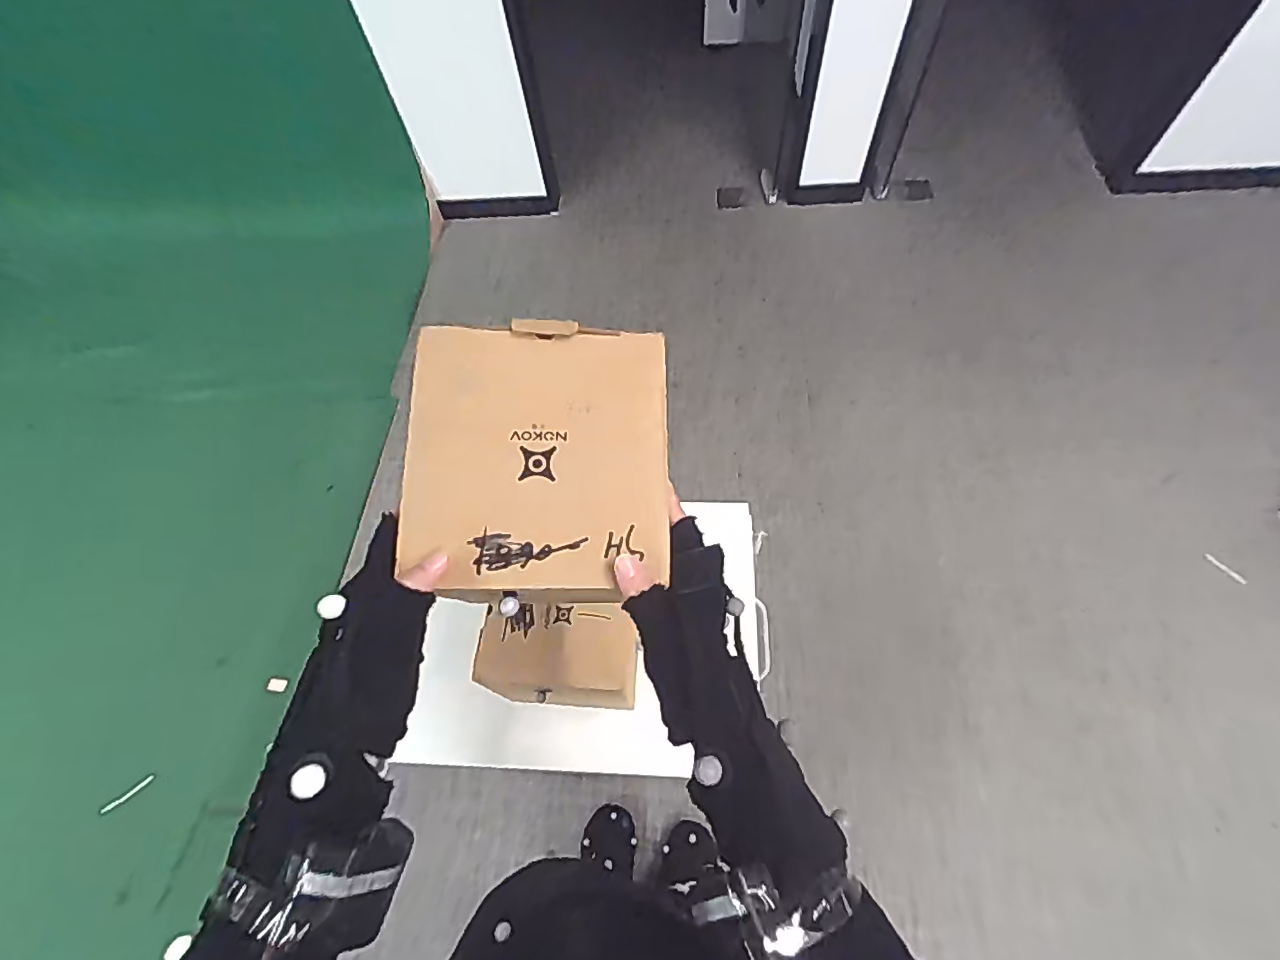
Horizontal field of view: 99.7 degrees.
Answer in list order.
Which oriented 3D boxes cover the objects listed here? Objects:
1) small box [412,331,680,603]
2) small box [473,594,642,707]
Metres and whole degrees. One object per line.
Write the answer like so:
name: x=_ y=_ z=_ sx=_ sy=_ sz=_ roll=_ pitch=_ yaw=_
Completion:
small box: x=-0.067 y=0.002 z=0.428 sx=0.168 sy=0.176 sz=0.179 roll=-2 pitch=76 yaw=-6
small box: x=-0.095 y=0.200 z=0.720 sx=0.179 sy=0.176 sz=0.168 roll=2 pitch=61 yaw=5
